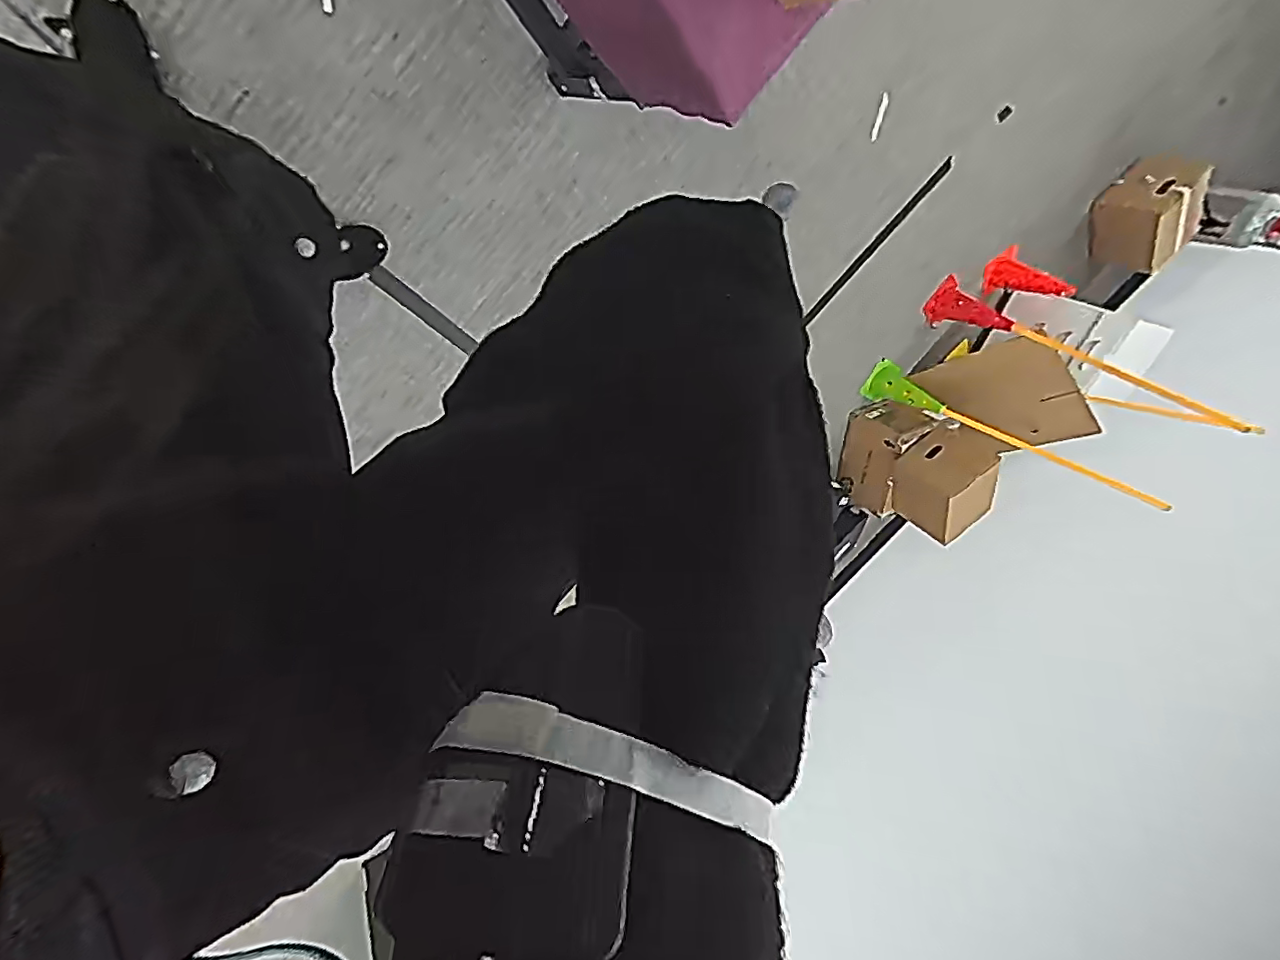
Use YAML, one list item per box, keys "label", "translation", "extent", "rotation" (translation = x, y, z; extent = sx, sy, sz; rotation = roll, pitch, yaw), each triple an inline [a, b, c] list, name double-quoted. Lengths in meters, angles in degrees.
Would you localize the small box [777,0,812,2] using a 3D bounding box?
- label: "small box"
  translation: [0.250, -0.760, 0.682]
  extent: [0.179, 0.176, 0.168]
  rotation: [-50, 134, 8]
